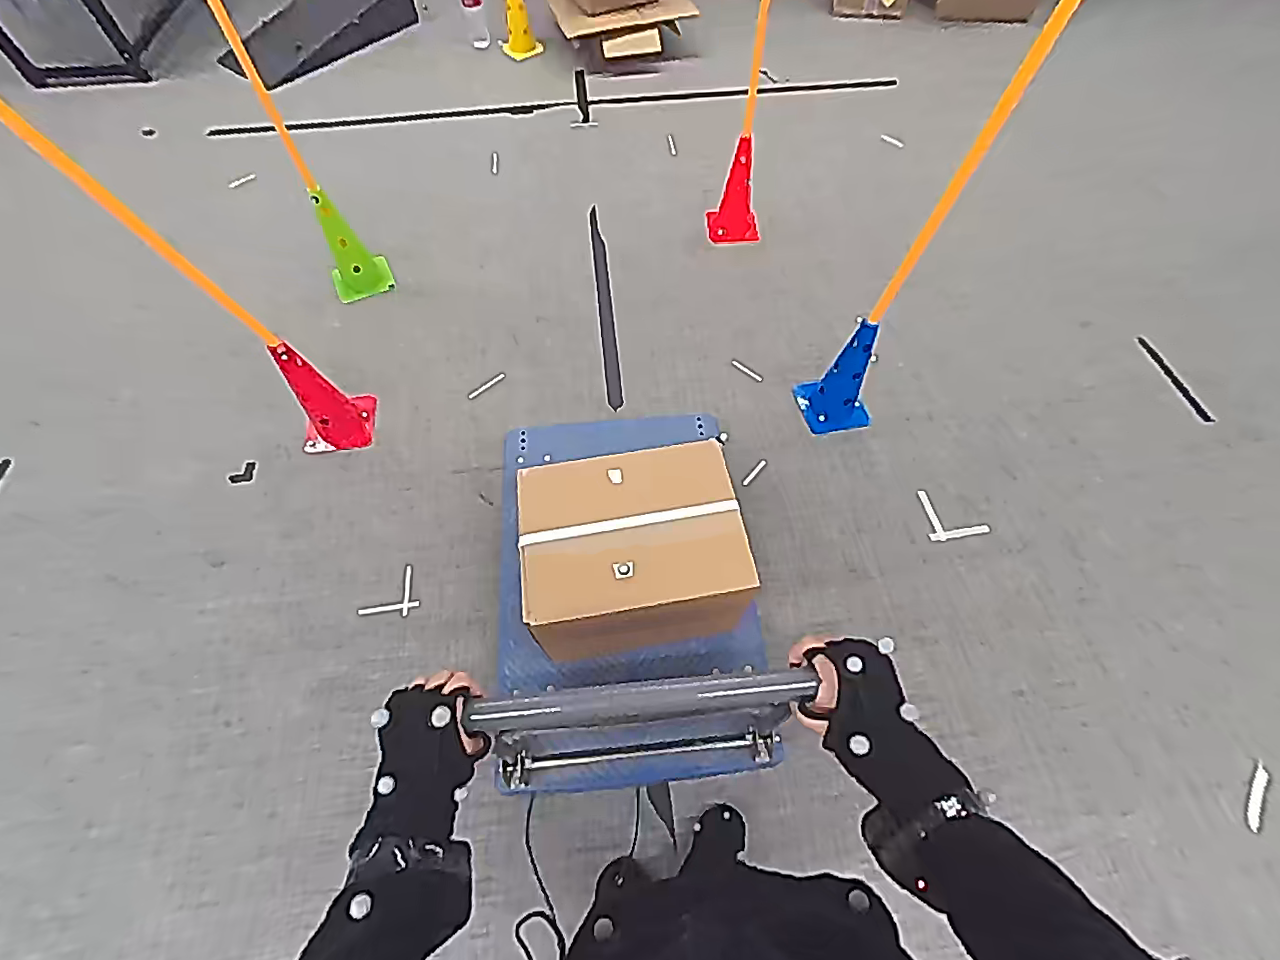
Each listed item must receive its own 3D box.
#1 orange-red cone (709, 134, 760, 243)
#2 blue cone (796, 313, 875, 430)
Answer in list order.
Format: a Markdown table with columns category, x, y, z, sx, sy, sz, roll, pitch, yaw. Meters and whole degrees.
| category | x | y | z | sx | sy | sz | roll | pitch | yaw |
| --- | --- | --- | --- | --- | --- | --- | --- | --- | --- |
| orange-red cone | 0.378 | -1.098 | 2.017 | 0.199 | 0.360 | 0.198 | 0 | 61 | -1 |
| blue cone | 0.613 | -0.327 | 1.591 | 0.193 | 0.380 | 0.192 | -9 | 59 | -5 |
